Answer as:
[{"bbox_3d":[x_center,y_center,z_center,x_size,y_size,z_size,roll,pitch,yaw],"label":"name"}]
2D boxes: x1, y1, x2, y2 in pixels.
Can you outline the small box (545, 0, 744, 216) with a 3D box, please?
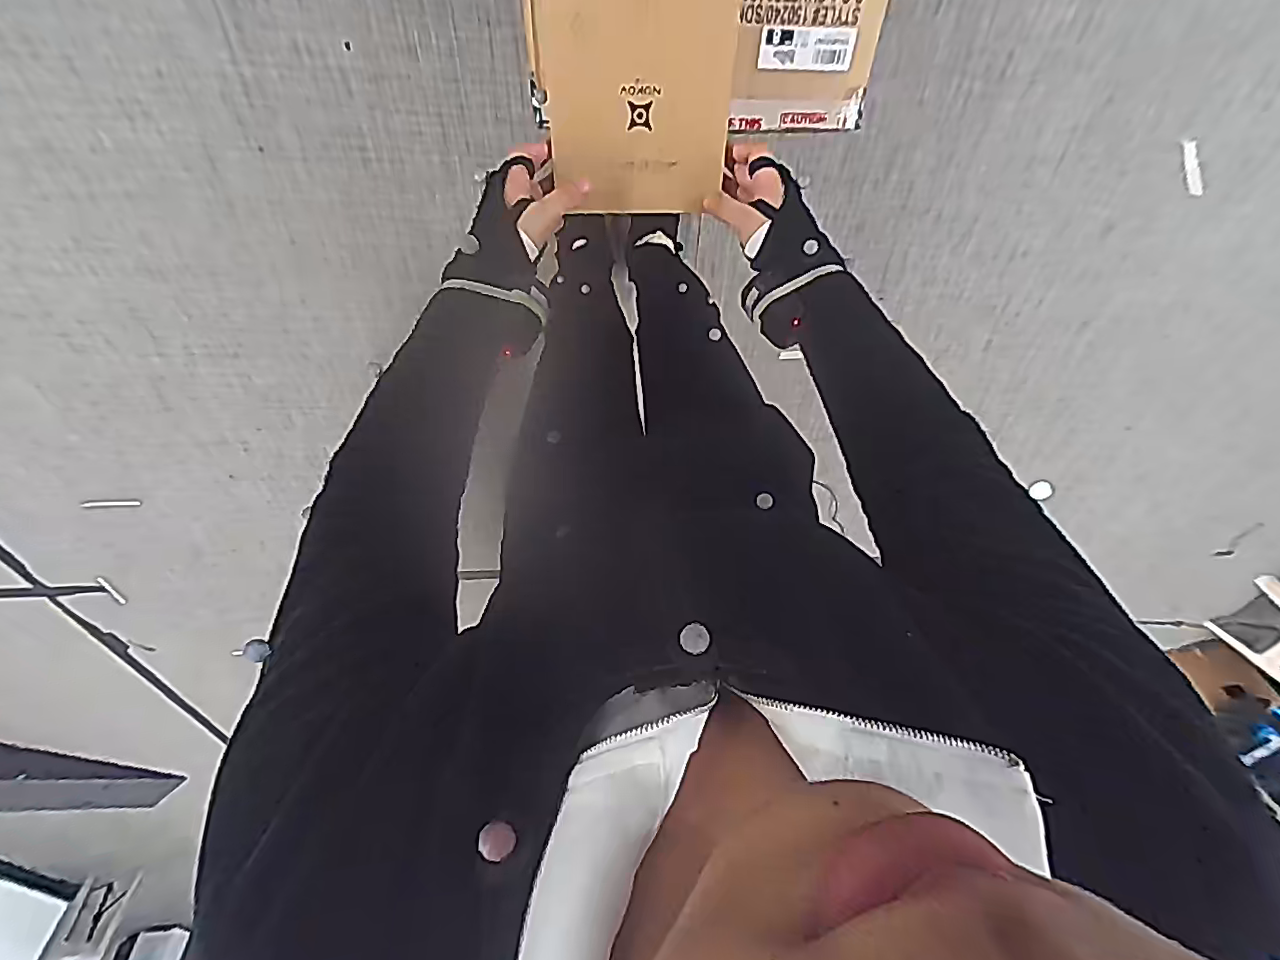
[{"bbox_3d":[-0.003,-0.385,0.545,0.168,0.176,0.179,-1,134,-2],"label":"small box"}]
